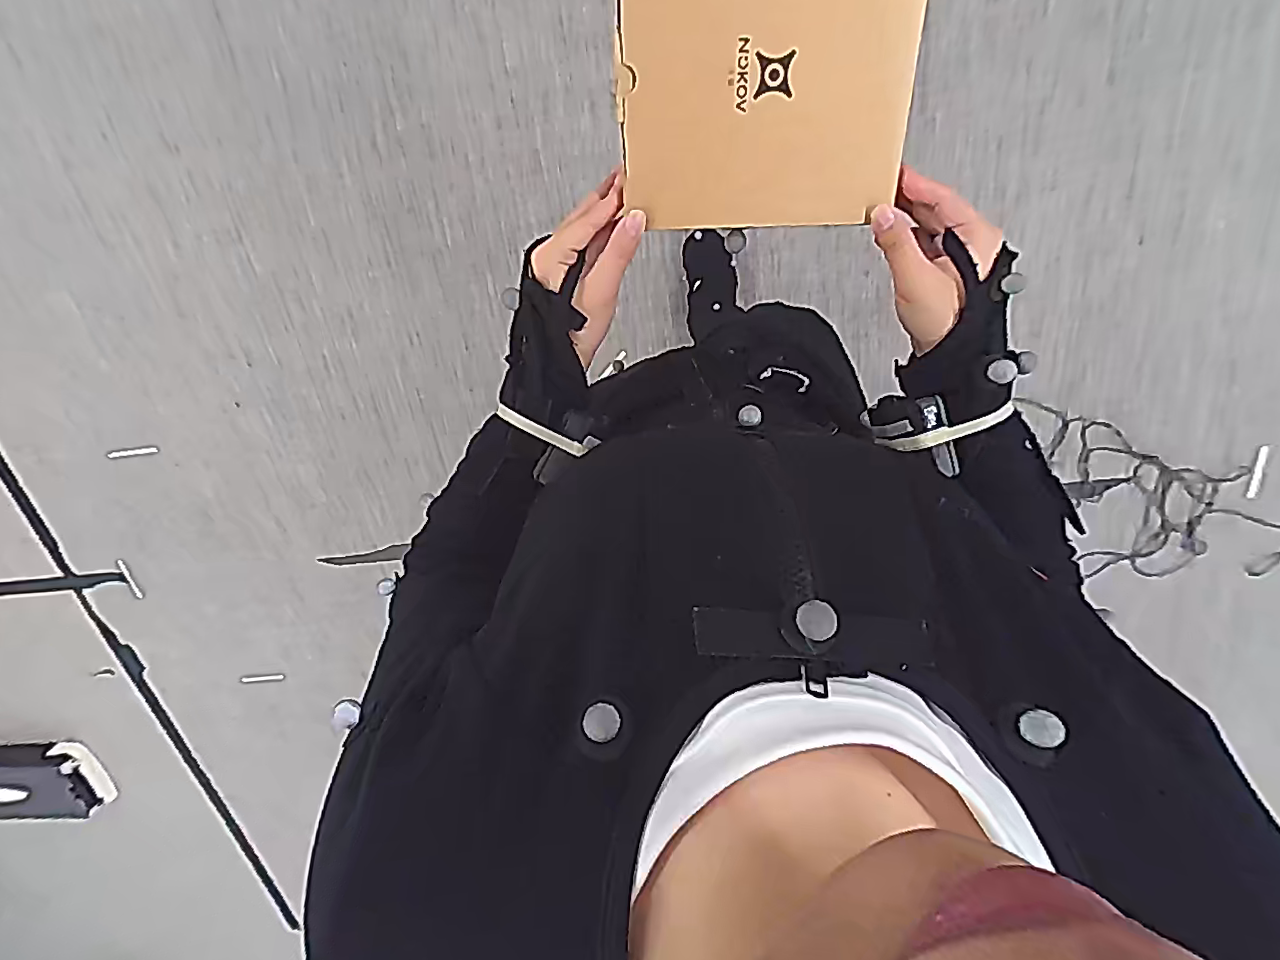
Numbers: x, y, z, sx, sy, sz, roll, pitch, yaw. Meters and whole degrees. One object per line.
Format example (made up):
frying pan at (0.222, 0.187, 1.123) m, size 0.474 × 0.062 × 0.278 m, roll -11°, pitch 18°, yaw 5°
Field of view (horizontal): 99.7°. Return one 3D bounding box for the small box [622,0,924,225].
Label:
small box at (0.079, -0.282, 0.396) m, size 0.179 × 0.176 × 0.168 m, roll 0°, pitch 116°, yaw 2°
